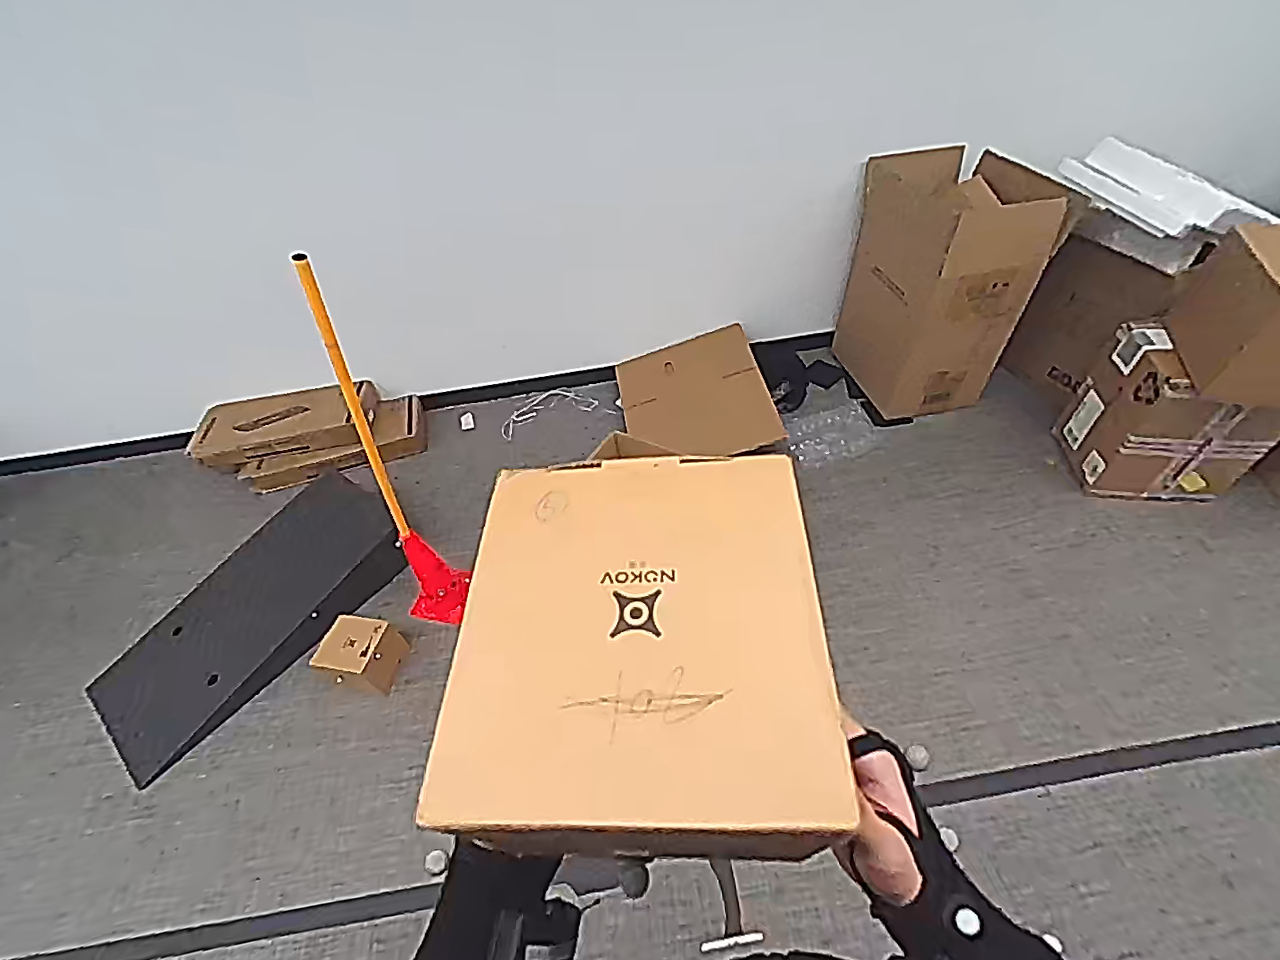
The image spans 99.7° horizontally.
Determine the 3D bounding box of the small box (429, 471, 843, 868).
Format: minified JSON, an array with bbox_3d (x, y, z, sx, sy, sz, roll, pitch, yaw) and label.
[{"bbox_3d":[0.005,0.116,0.323,0.168,0.176,0.179,-3,51,5],"label":"small box"}]
